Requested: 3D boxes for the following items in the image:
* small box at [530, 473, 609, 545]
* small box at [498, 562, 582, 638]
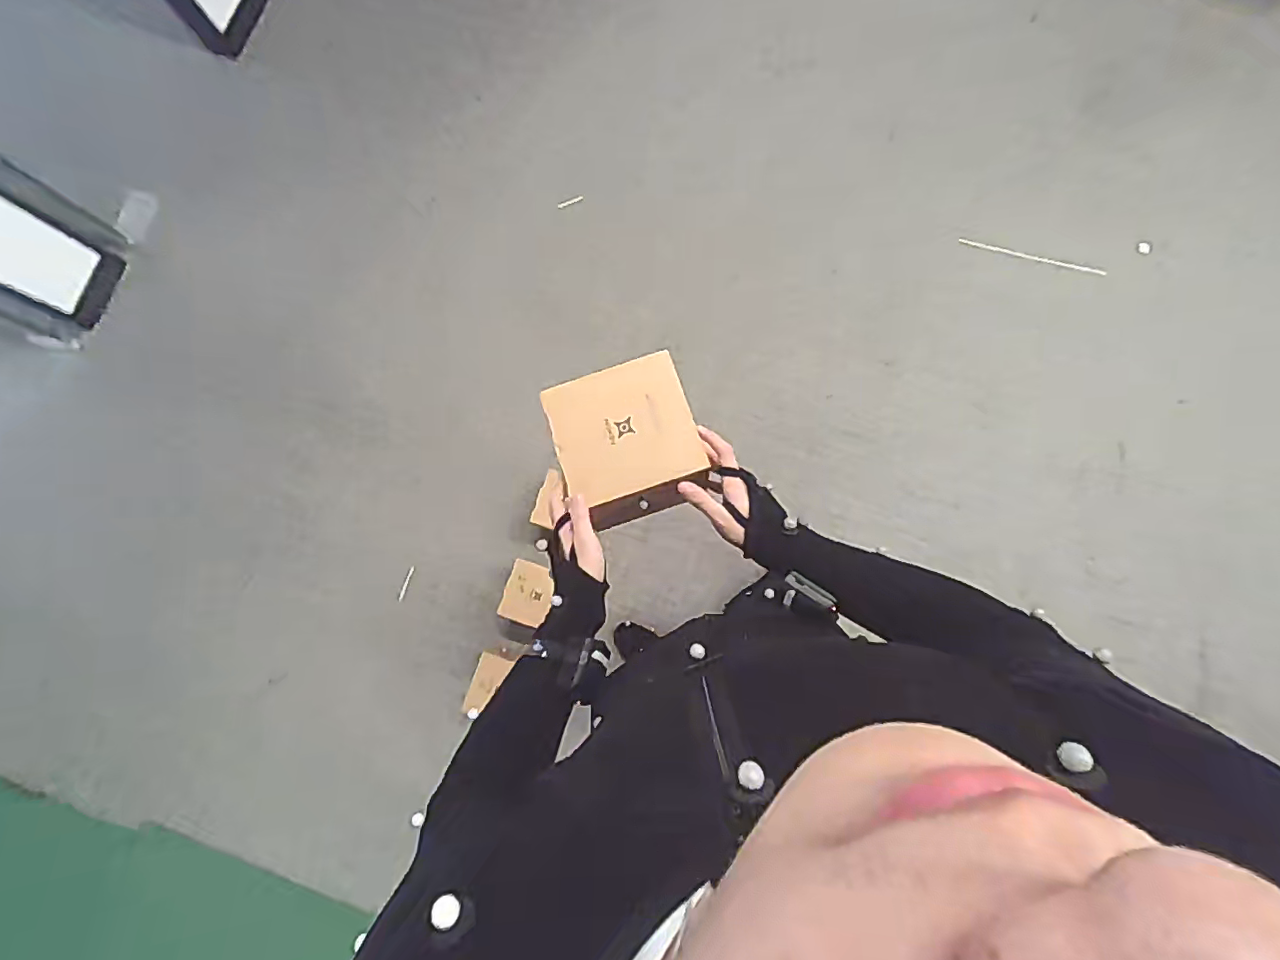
[{"bbox_3d":[-0.201,0.092,1.611,0.179,0.176,0.168,17,80,7],"label":"small box"},{"bbox_3d":[-0.279,0.343,1.561,0.179,0.176,0.168,17,79,7],"label":"small box"}]
